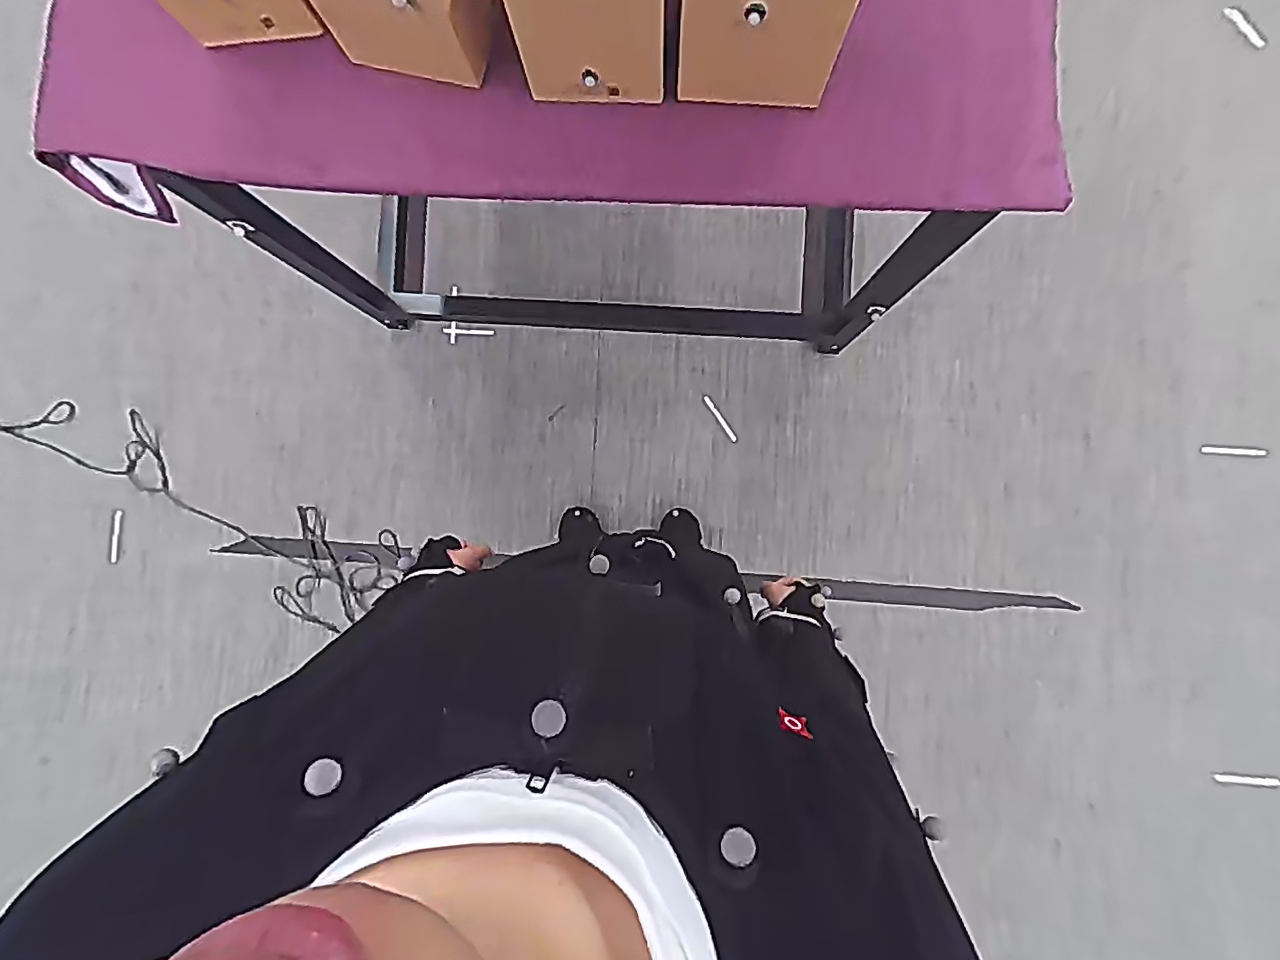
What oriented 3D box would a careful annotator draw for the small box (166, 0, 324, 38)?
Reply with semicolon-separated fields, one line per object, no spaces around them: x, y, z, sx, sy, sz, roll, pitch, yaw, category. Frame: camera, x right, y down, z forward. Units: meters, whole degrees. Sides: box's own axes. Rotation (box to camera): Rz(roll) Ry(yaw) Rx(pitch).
-0.496;-0.659;0.627;0.168;0.176;0.179;-5;88;2;small box
